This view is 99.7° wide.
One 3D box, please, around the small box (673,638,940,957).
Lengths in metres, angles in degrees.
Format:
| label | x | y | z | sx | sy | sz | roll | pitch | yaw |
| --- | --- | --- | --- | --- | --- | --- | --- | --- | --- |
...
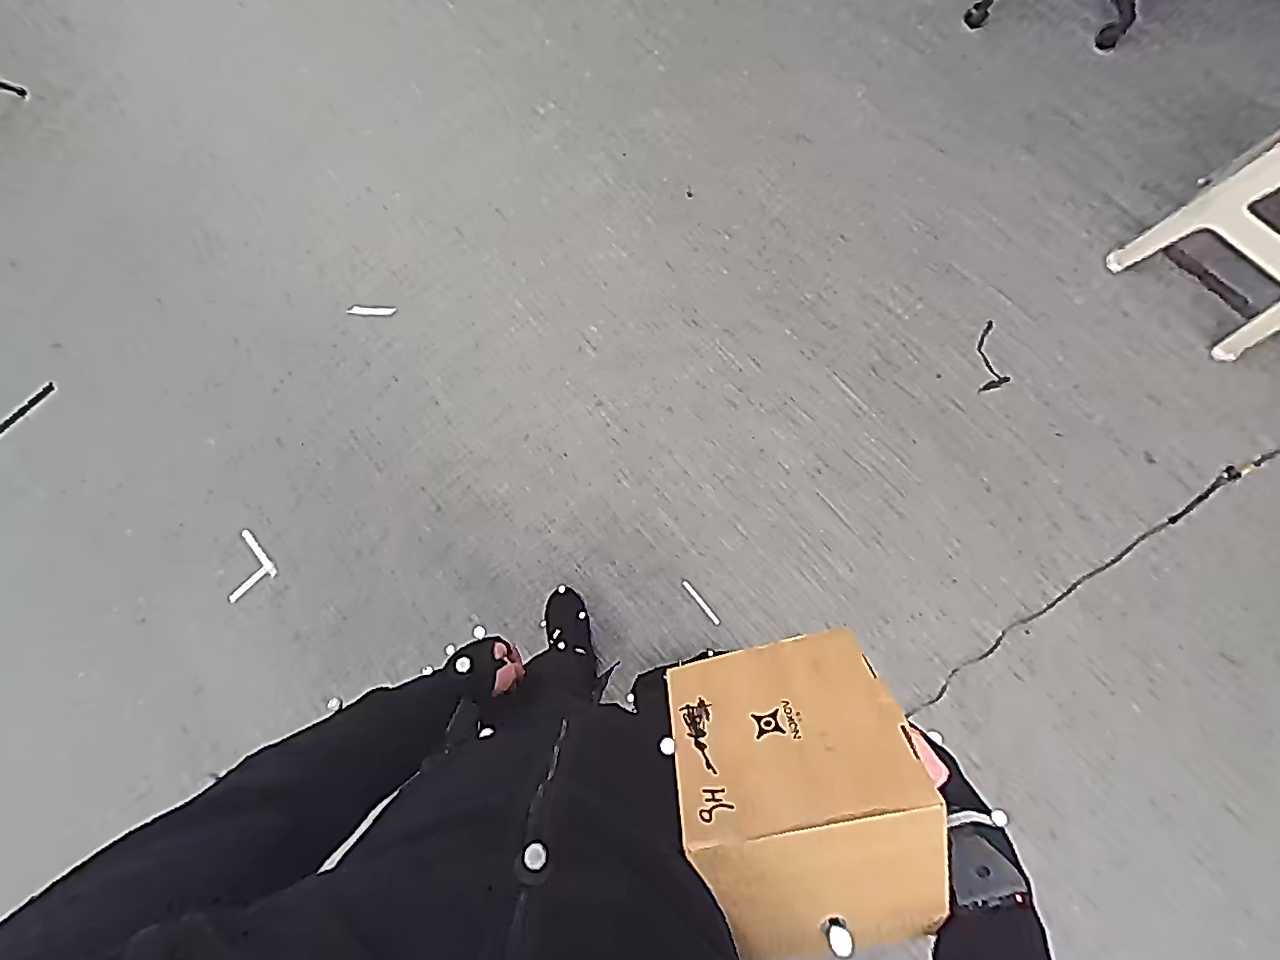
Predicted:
| label | x | y | z | sx | sy | sz | roll | pitch | yaw |
| --- | --- | --- | --- | --- | --- | --- | --- | --- | --- |
| small box | 0.137 | 0.274 | 0.479 | 0.179 | 0.168 | 0.176 | -15 | 115 | 5 |
